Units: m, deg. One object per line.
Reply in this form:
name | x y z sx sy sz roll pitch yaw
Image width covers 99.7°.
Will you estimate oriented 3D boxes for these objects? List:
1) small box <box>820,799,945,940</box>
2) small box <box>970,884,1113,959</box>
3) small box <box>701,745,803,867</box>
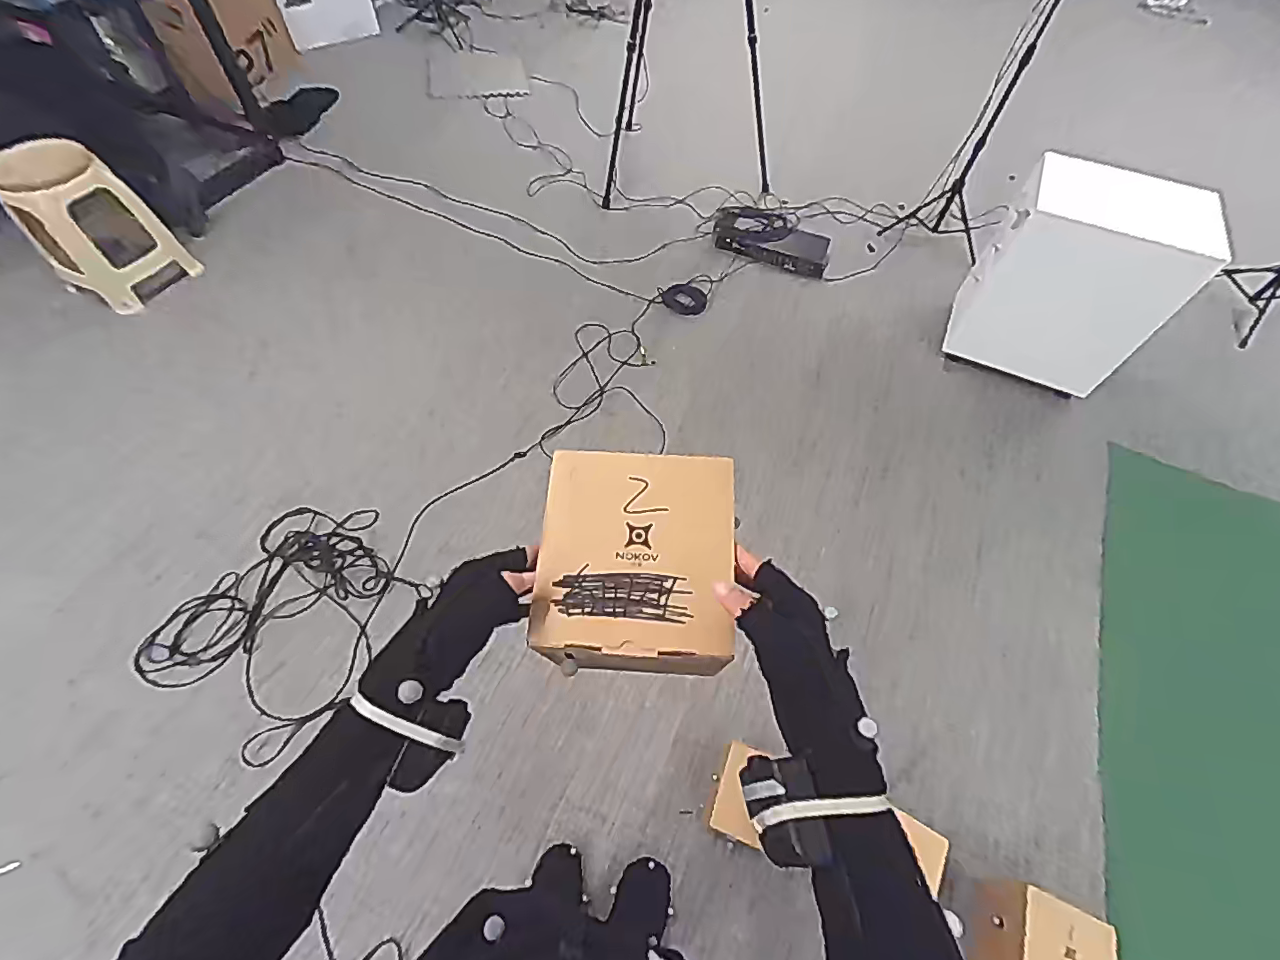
small box | 0.504 0.809 1.140 0.168 0.176 0.179 27 60 14
small box | 0.785 0.941 1.069 0.168 0.176 0.179 23 58 12
small box | 0.239 0.712 1.188 0.168 0.176 0.179 19 59 11
